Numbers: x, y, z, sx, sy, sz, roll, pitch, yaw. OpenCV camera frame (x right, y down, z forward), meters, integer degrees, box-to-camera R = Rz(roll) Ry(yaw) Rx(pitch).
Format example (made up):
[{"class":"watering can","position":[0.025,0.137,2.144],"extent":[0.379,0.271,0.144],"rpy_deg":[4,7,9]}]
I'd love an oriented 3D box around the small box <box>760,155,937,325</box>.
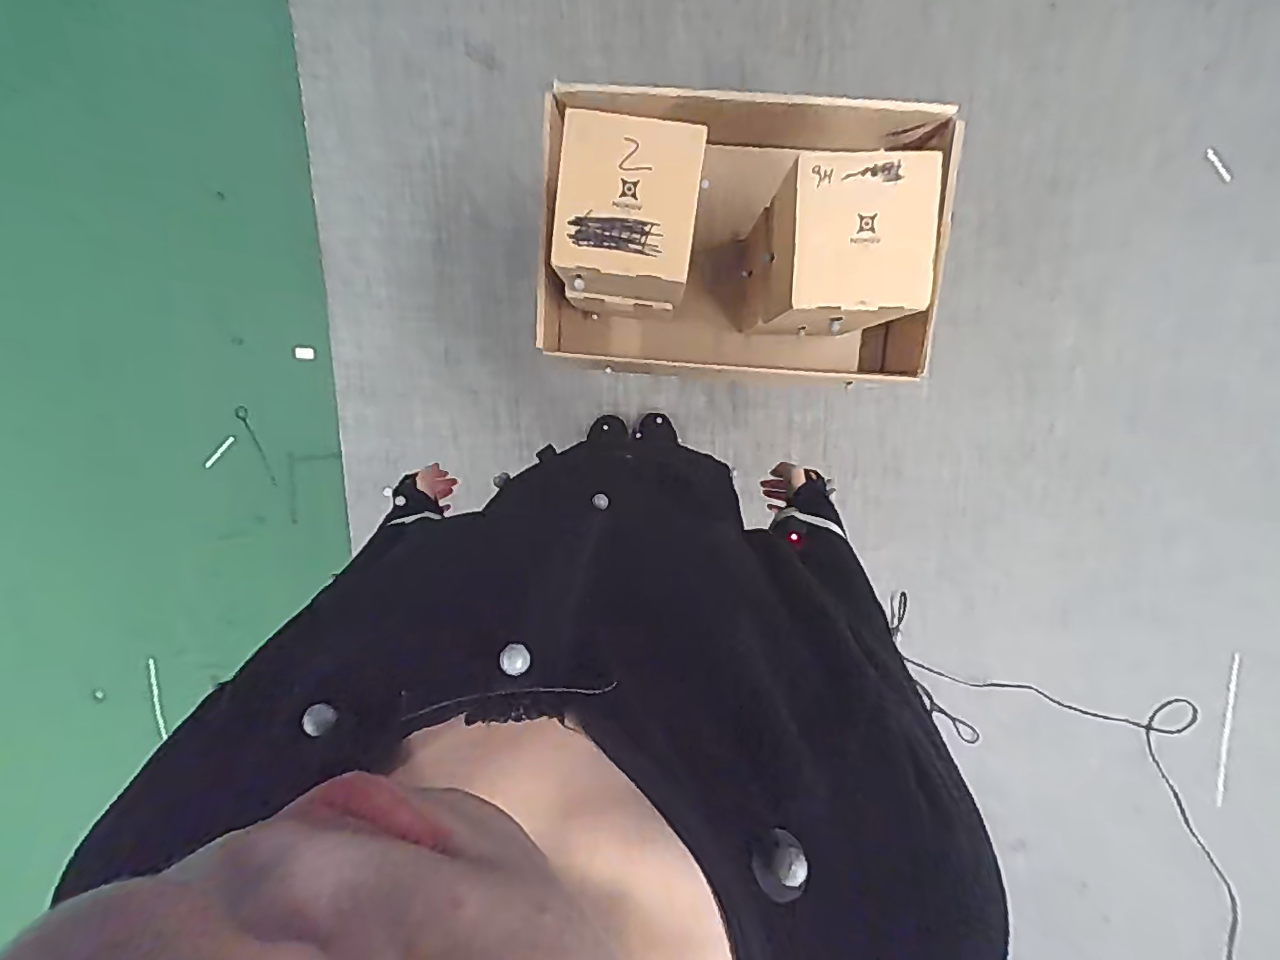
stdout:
[{"class":"small box","position":[0.260,-0.303,0.717],"extent":[0.168,0.176,0.179],"rpy_deg":[1,101,0]}]
